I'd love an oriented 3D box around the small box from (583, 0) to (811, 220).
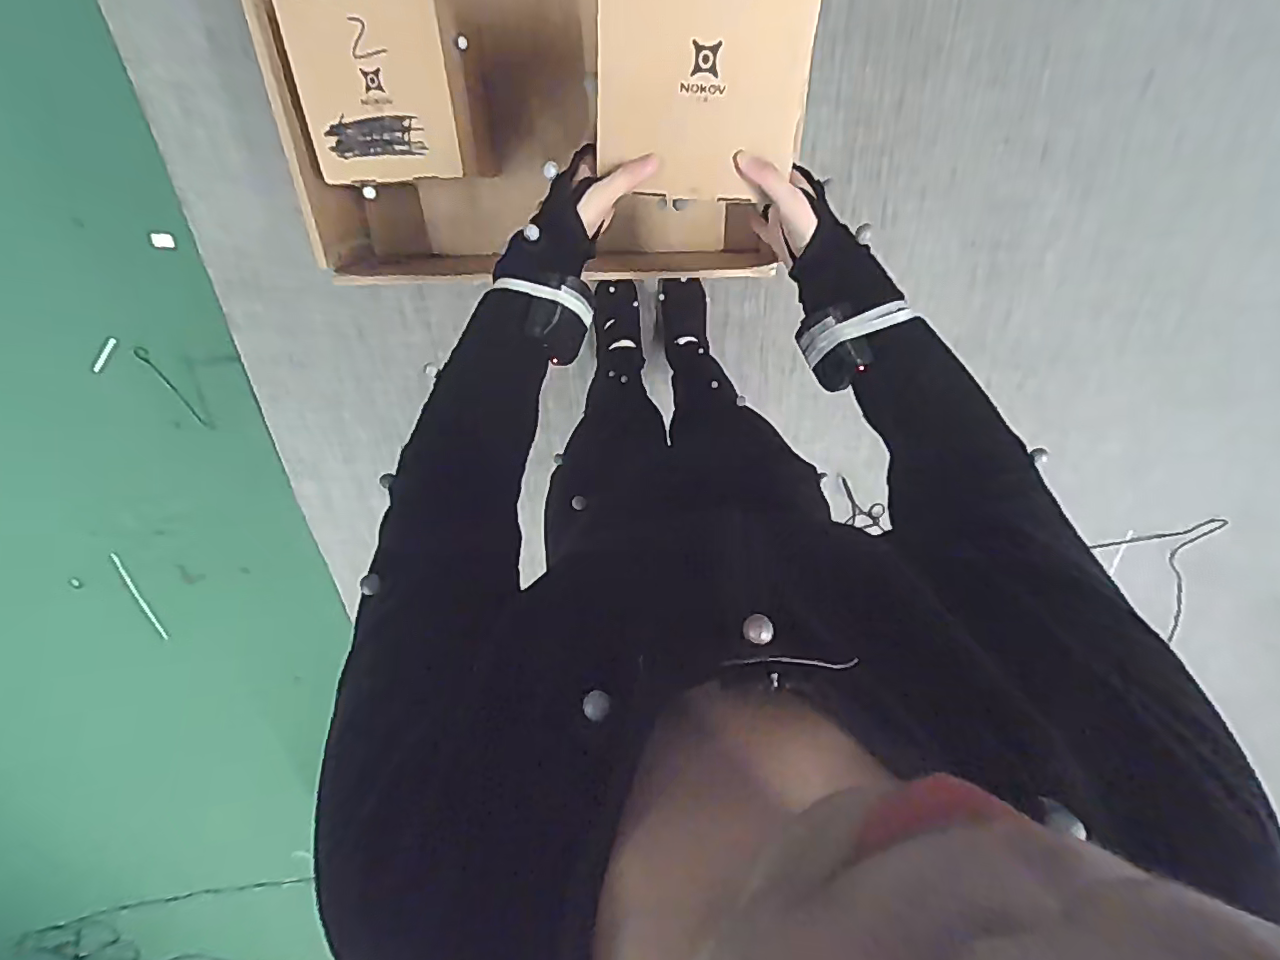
[{"bbox_3d":[0.040,-0.343,0.482,0.168,0.176,0.179,2,123,-1],"label":"small box"}]
